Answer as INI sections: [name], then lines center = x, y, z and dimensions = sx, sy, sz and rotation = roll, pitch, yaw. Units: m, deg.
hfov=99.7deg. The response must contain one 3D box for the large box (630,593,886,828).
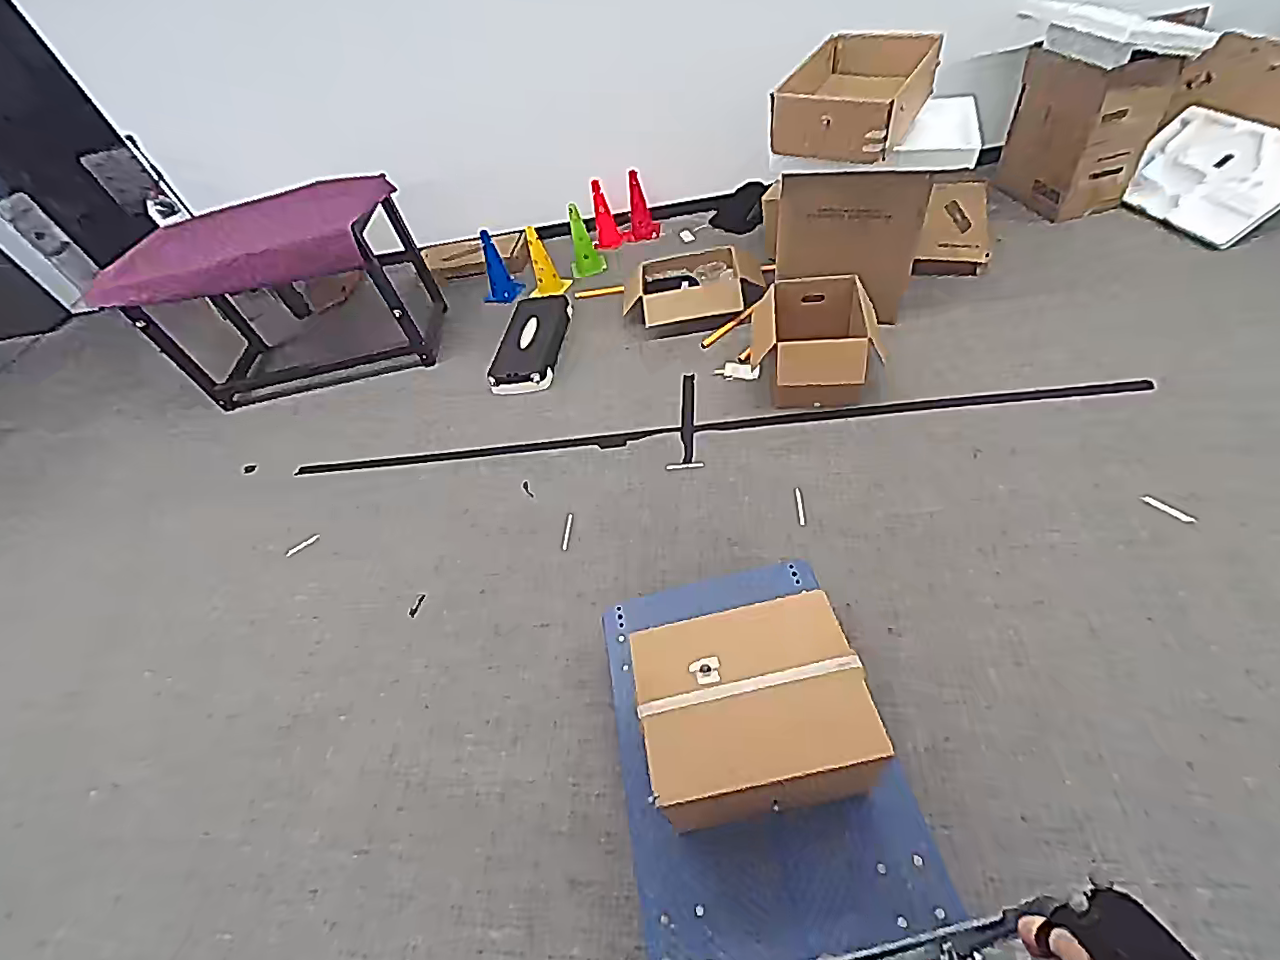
[large box]
center = 0.226, 0.483, 1.116
dimensions = 0.408, 0.320, 0.320
rotation = -15, 48, 3
